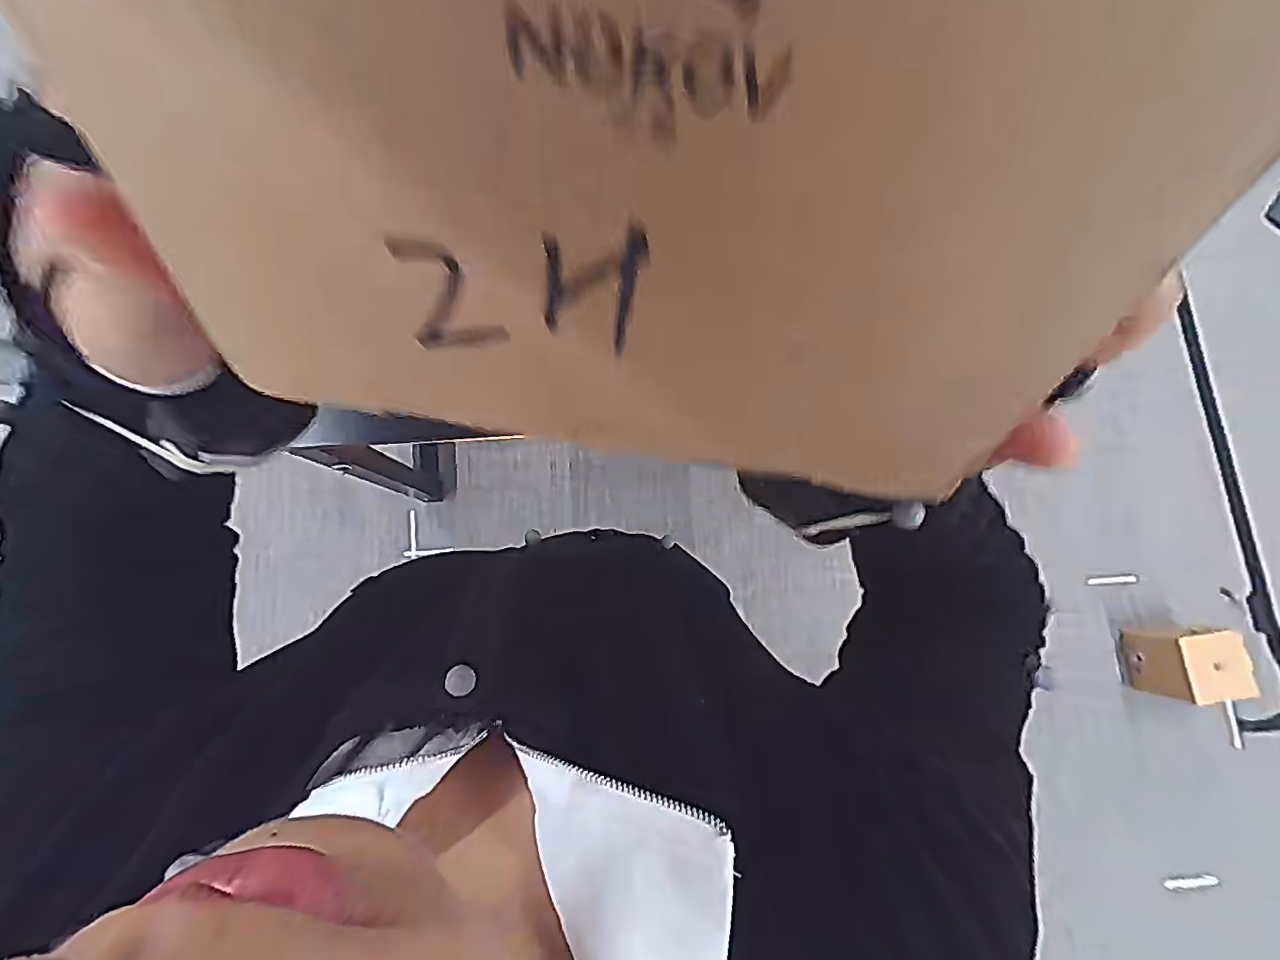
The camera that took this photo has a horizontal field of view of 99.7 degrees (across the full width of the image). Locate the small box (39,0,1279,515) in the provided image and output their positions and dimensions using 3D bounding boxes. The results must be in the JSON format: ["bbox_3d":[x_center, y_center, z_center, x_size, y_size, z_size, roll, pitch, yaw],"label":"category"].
[{"bbox_3d":[0.013,-0.120,0.115,0.168,0.179,0.176,11,52,-1],"label":"small box"}]

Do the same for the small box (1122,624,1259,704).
[{"bbox_3d":[1.469,0.487,1.453,0.179,0.176,0.168,-8,80,-3],"label":"small box"}]
